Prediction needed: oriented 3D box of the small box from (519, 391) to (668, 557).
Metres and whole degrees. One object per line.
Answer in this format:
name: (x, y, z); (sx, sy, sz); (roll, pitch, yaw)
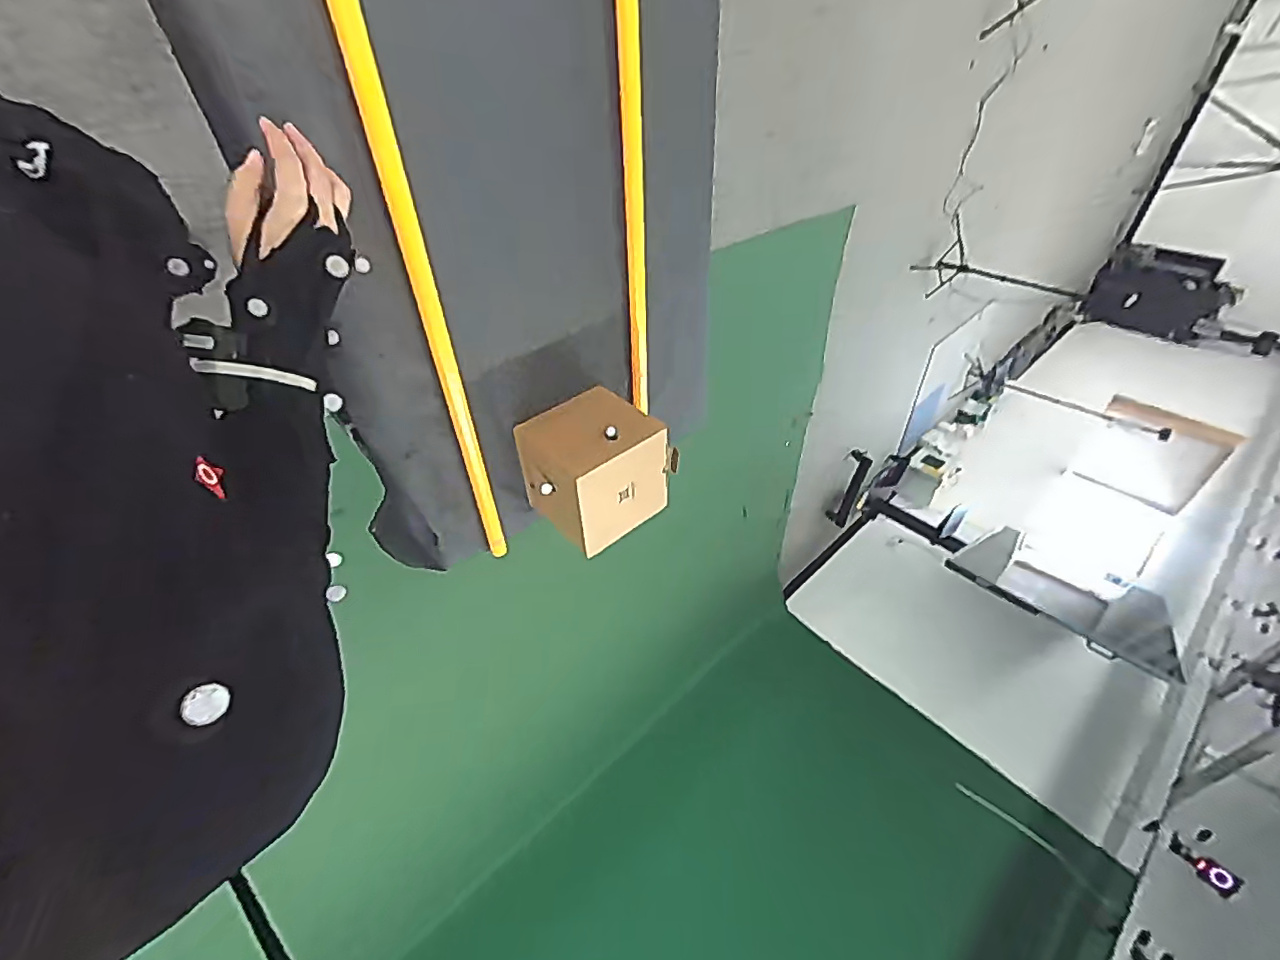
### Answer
small box: (-0.075, -0.017, 0.864); (0.179, 0.176, 0.168); (-33, 139, -30)
